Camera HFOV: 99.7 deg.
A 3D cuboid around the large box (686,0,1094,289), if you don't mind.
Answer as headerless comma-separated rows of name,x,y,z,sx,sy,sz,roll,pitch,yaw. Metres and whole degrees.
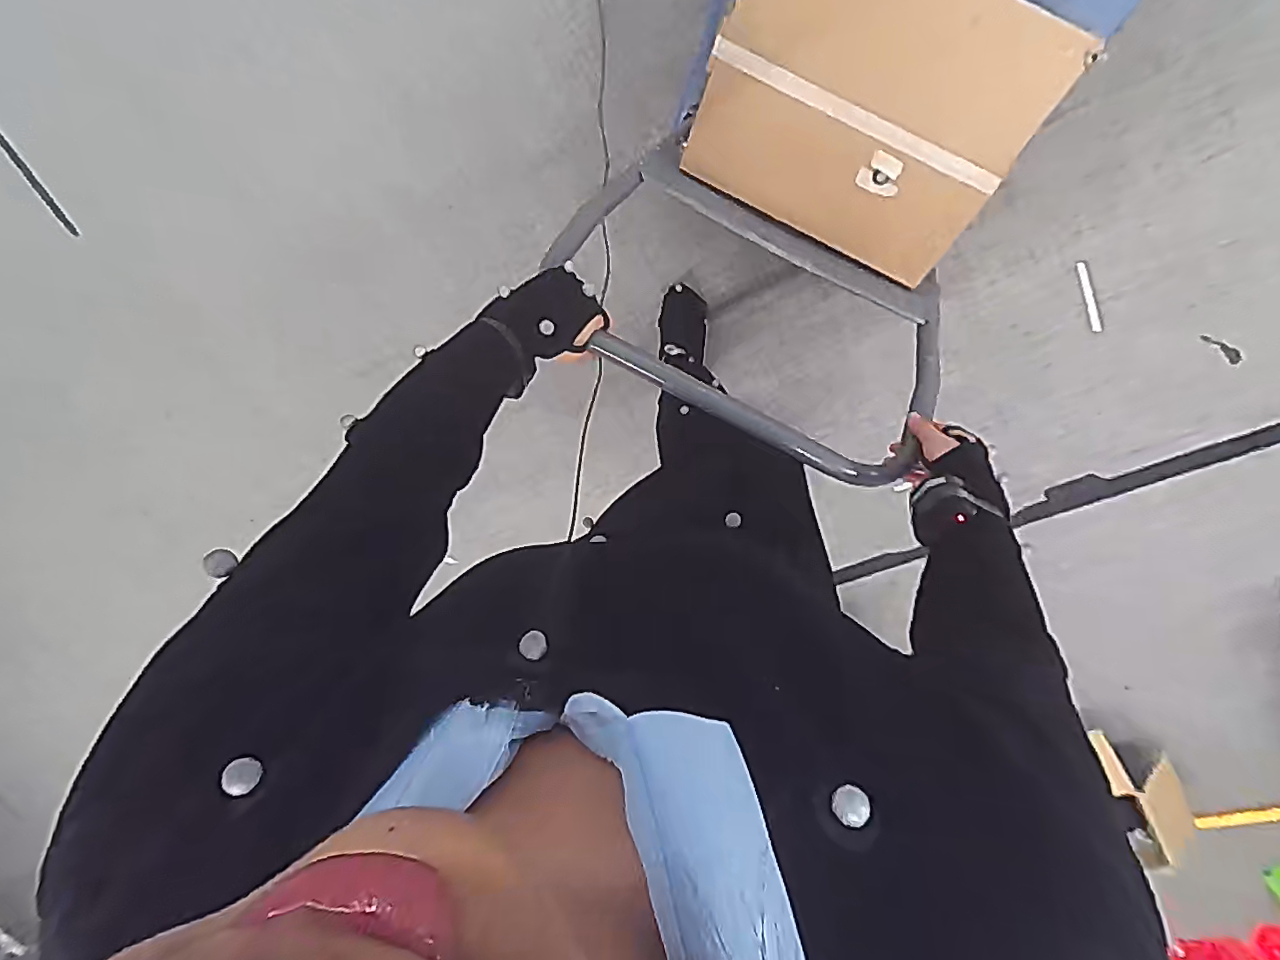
large box,0.336,-0.565,0.822,0.408,0.320,0.320,27,136,0
